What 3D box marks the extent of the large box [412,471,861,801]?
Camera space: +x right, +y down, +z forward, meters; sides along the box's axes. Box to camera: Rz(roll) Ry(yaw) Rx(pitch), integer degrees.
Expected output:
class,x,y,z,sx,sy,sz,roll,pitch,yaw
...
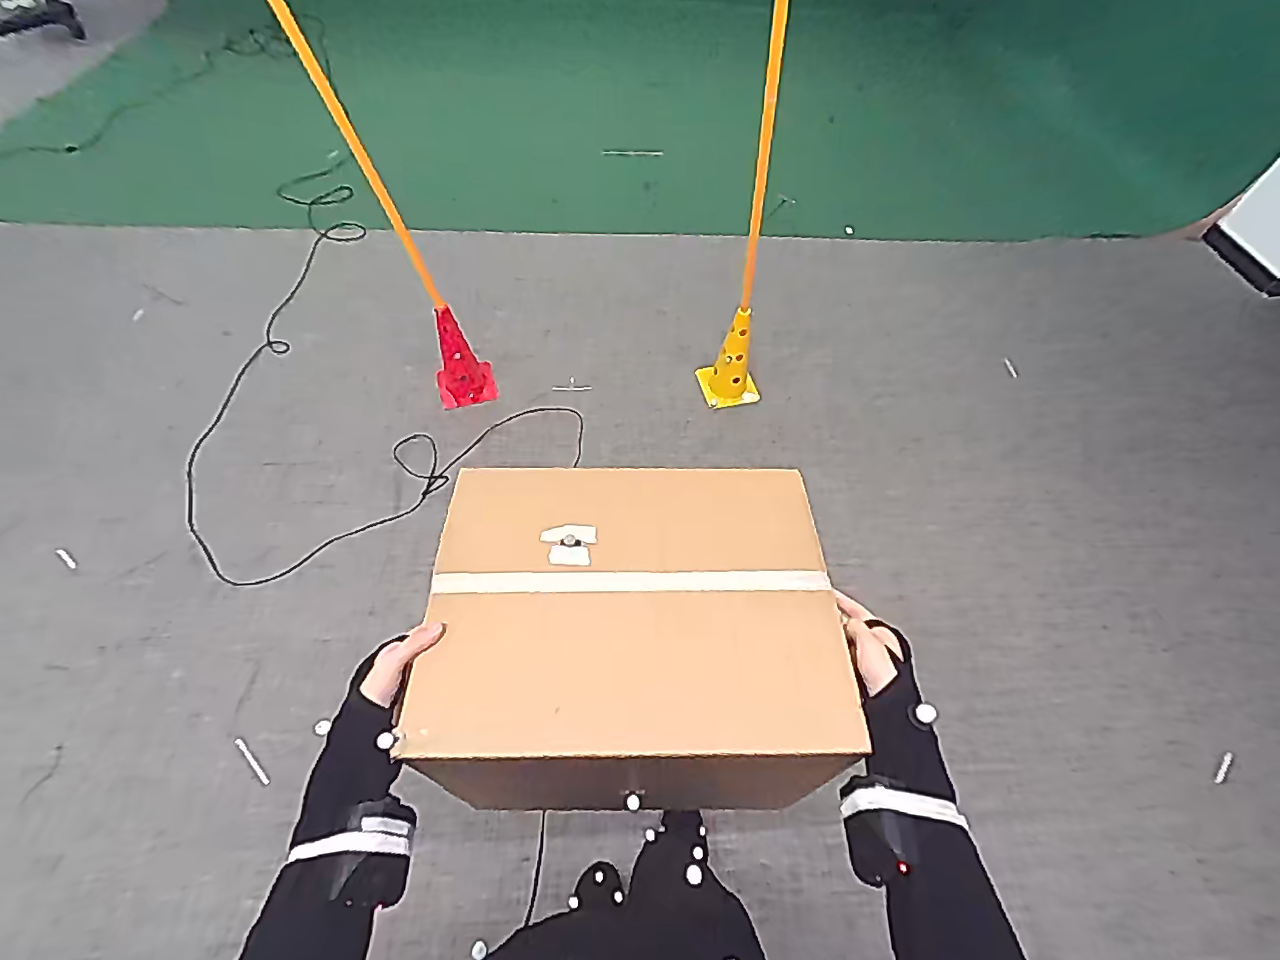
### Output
class,x,y,z,sx,sy,sz,roll,pitch,yaw
large box,-0.003,0.205,0.680,0.408,0.320,0.320,0,51,0
